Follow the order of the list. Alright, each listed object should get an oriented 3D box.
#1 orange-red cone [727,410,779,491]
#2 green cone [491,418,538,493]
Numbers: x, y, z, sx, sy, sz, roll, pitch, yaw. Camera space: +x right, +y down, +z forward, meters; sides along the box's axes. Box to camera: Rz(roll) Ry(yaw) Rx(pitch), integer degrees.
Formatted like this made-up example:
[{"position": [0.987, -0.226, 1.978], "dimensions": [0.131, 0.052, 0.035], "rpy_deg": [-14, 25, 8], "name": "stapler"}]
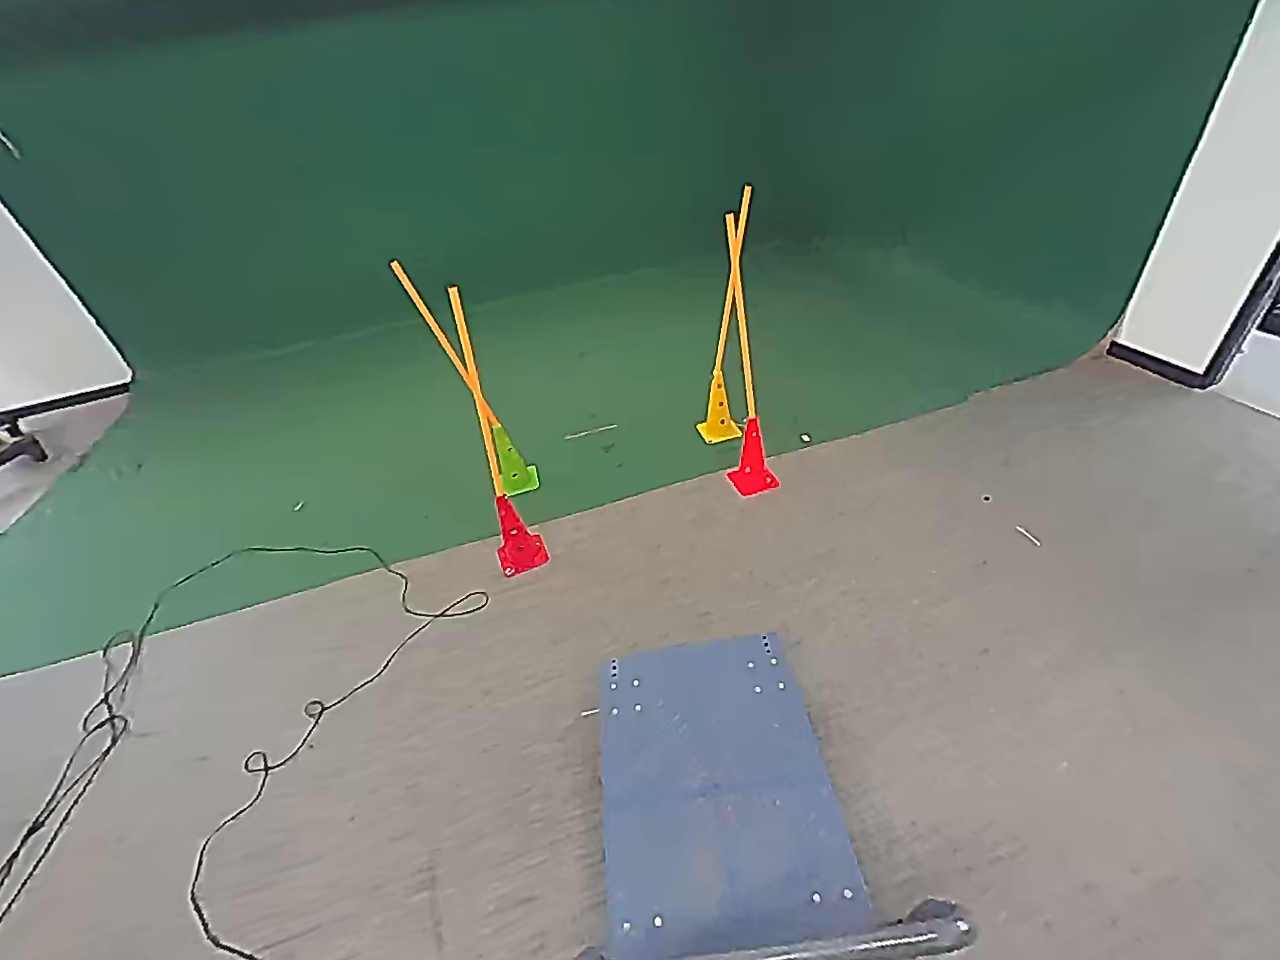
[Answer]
[{"position": [0.509, -0.155, 2.452], "dimensions": [0.198, 0.360, 0.199], "rpy_deg": [-15, 37, -8], "name": "orange-red cone"}, {"position": [-0.658, -0.146, 2.684], "dimensions": [0.200, 0.368, 0.202], "rpy_deg": [-16, 38, -7], "name": "green cone"}]
